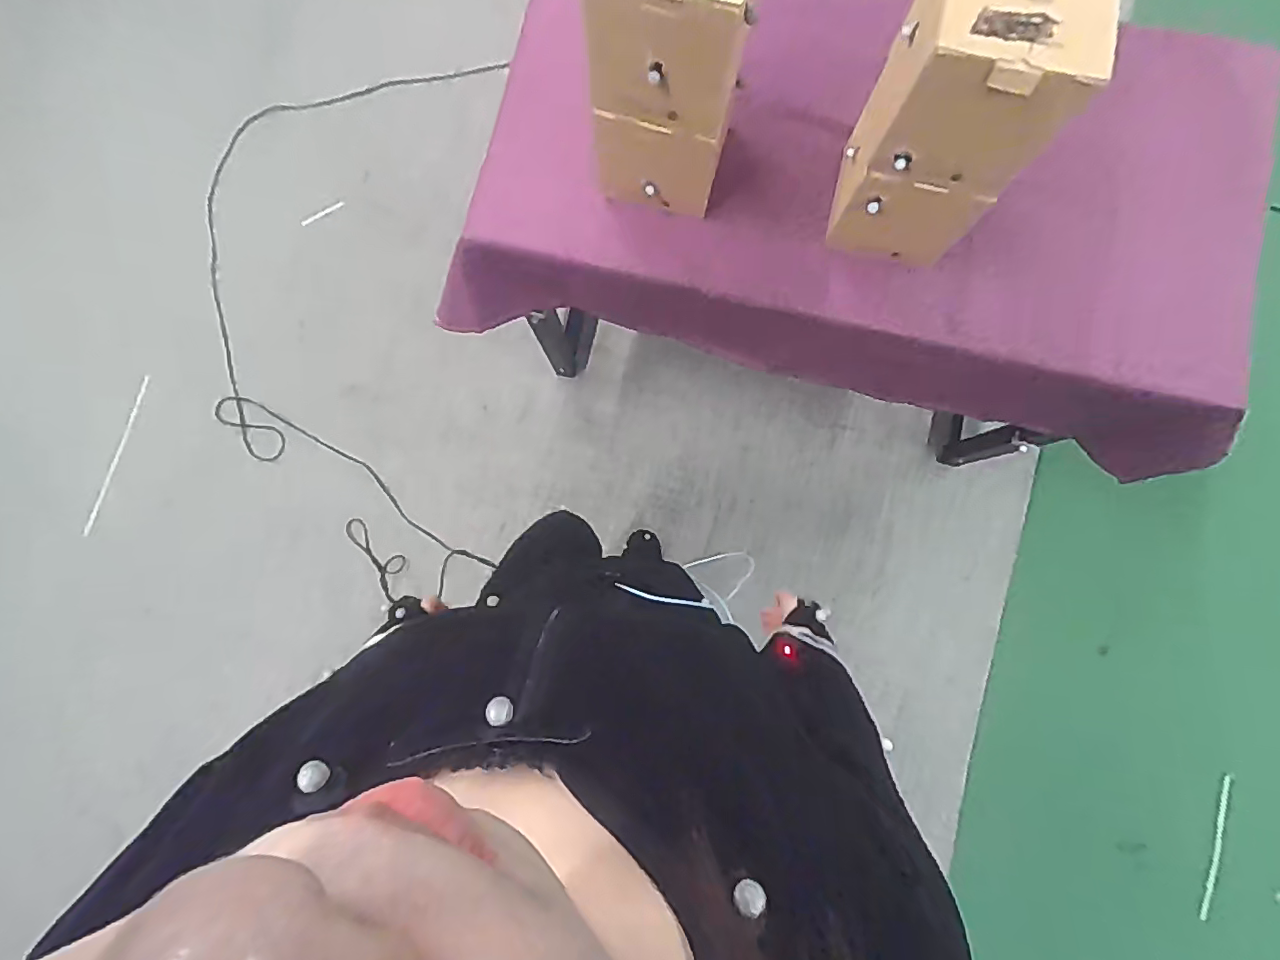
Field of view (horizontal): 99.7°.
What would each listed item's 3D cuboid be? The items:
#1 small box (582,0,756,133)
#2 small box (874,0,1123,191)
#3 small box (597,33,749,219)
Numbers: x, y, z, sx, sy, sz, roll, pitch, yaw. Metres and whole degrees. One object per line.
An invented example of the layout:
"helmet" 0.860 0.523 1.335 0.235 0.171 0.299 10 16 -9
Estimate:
"small box" 0.043 -0.539 0.611 0.168 0.176 0.179 15 84 2
"small box" 0.380 -0.460 0.598 0.168 0.176 0.179 14 82 2
"small box" 0.043 -0.516 0.774 0.168 0.176 0.179 15 83 3
